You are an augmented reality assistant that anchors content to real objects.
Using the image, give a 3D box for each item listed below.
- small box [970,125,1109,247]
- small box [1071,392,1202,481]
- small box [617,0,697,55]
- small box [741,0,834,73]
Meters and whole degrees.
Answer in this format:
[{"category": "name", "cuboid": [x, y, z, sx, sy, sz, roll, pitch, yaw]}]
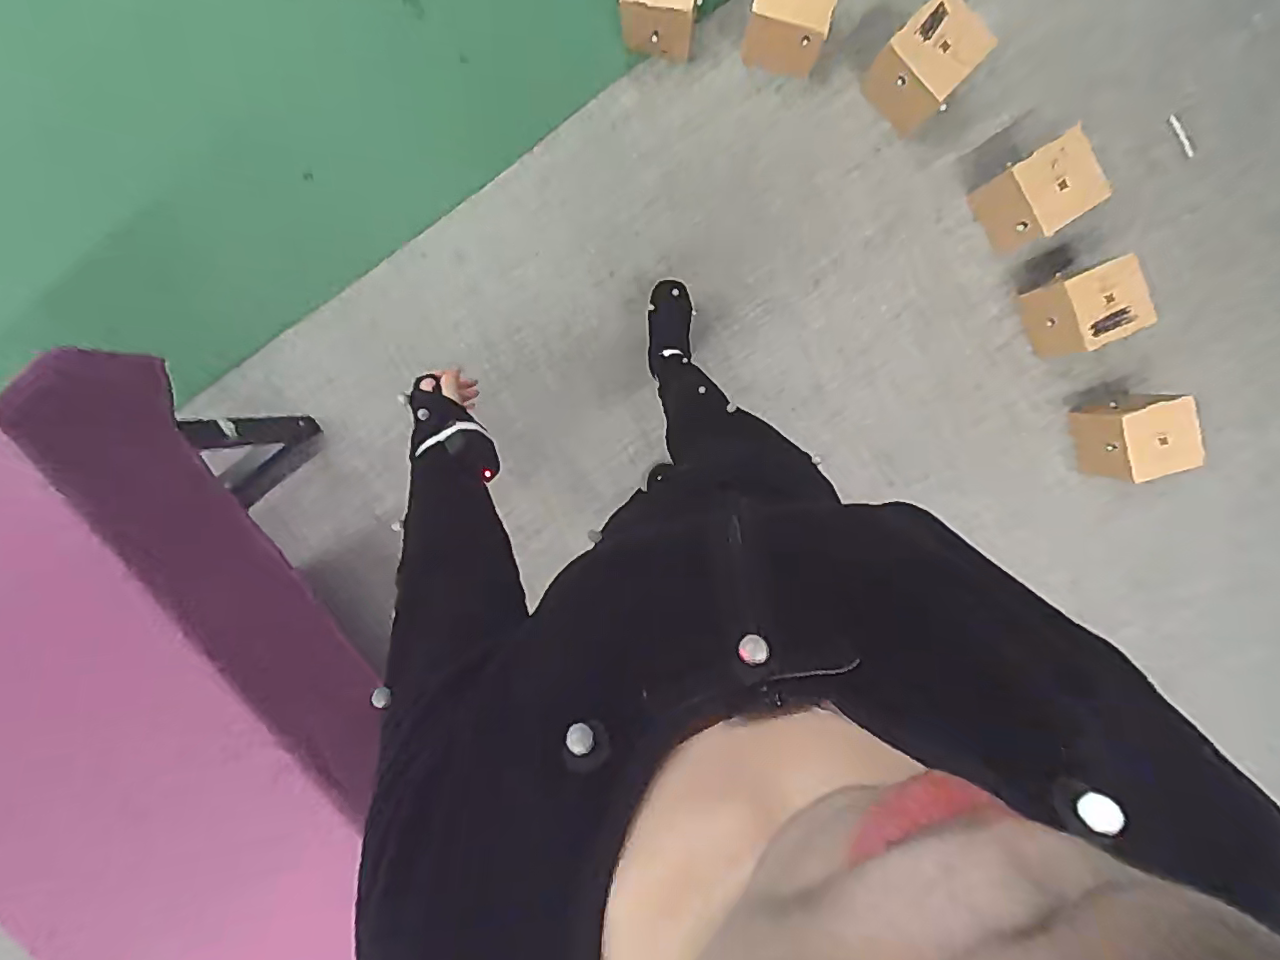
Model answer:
[{"category": "small box", "cuboid": [0.930, -0.675, 1.275, 0.168, 0.176, 0.179, -32, 96, 5]}, {"category": "small box", "cuboid": [1.226, -0.112, 1.348, 0.168, 0.176, 0.179, -17, 98, 4]}, {"category": "small box", "cuboid": [0.048, -1.127, 1.239, 0.168, 0.176, 0.179, 11, 99, 0]}, {"category": "small box", "cuboid": [0.343, -1.083, 1.239, 0.179, 0.176, 0.168, 16, 98, -1]}]
